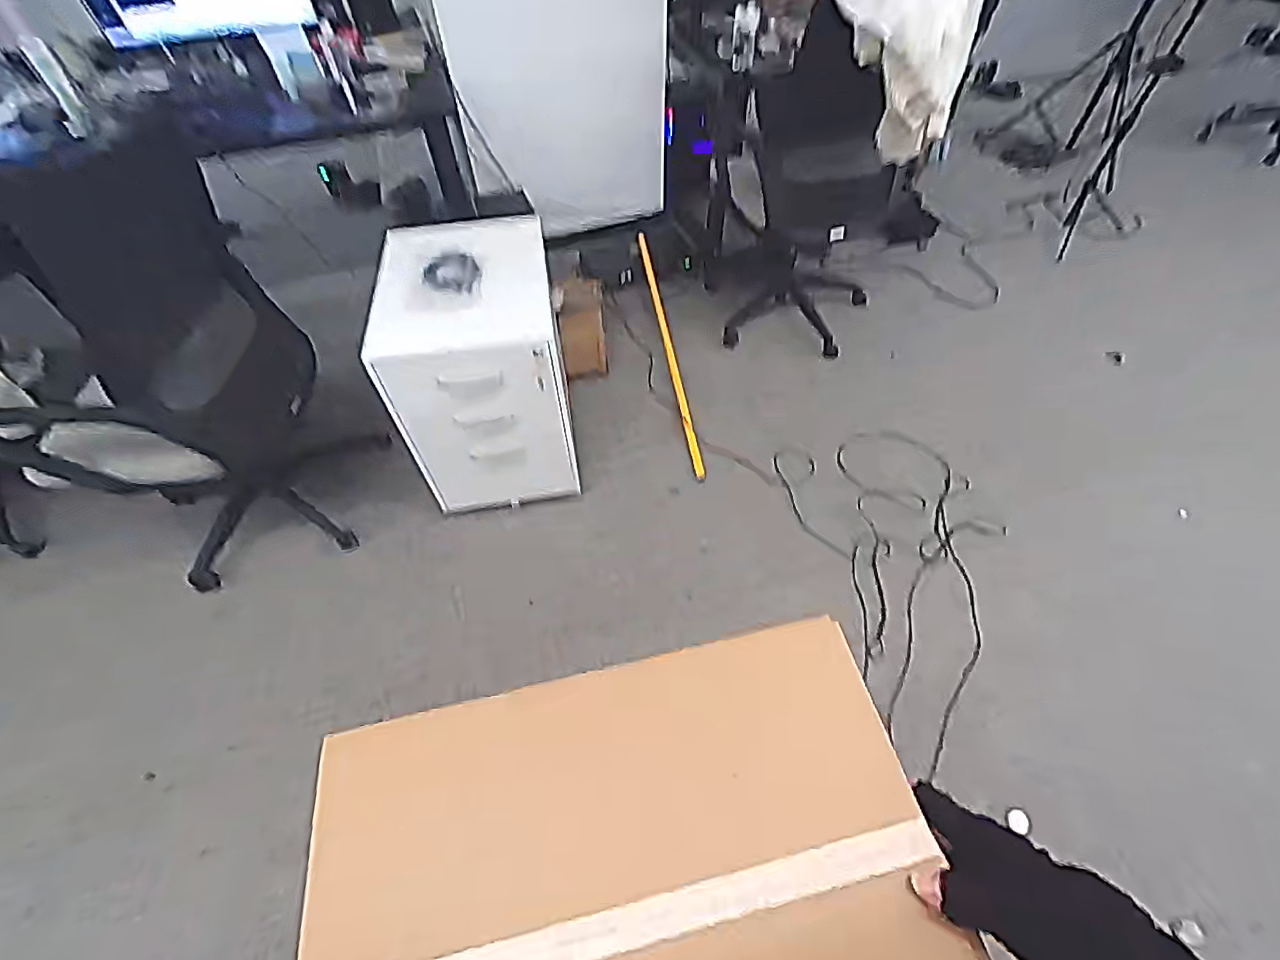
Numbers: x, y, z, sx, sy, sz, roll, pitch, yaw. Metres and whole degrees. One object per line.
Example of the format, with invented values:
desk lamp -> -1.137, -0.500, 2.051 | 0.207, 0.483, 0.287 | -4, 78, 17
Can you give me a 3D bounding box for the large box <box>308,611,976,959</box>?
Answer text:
large box -> -0.002, 0.353, 0.467 | 0.408, 0.320, 0.320 | -12, 55, -6
